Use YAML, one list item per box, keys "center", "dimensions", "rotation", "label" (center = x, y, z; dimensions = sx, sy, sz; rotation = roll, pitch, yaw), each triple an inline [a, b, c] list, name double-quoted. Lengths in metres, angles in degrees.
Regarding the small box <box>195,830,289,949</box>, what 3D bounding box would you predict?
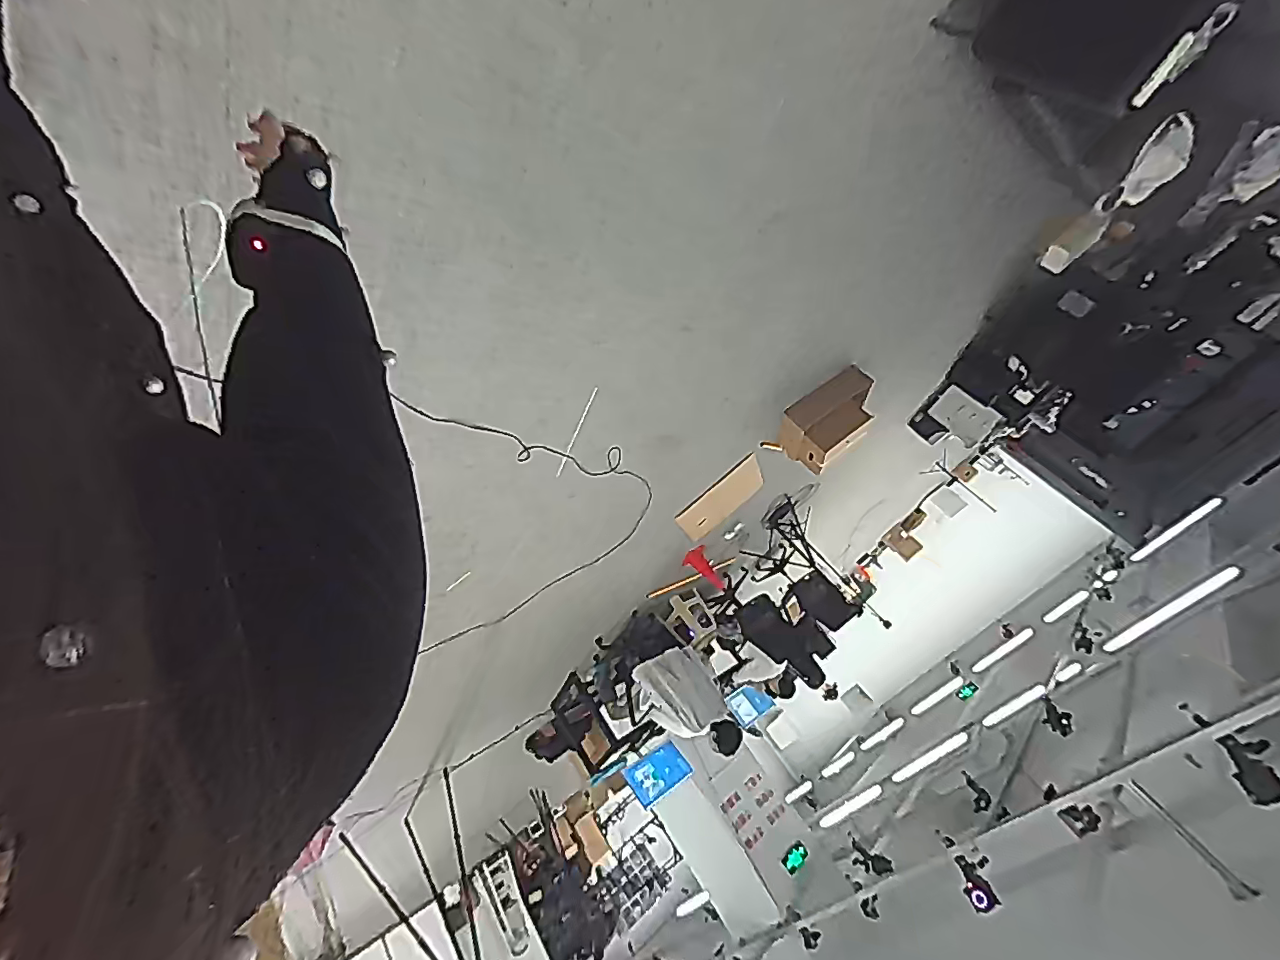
- center: [-1.026, 1.050, 1.398]
  dimensions: [0.168, 0.176, 0.179]
  rotation: [-13, 142, -43]
  label: "small box"
